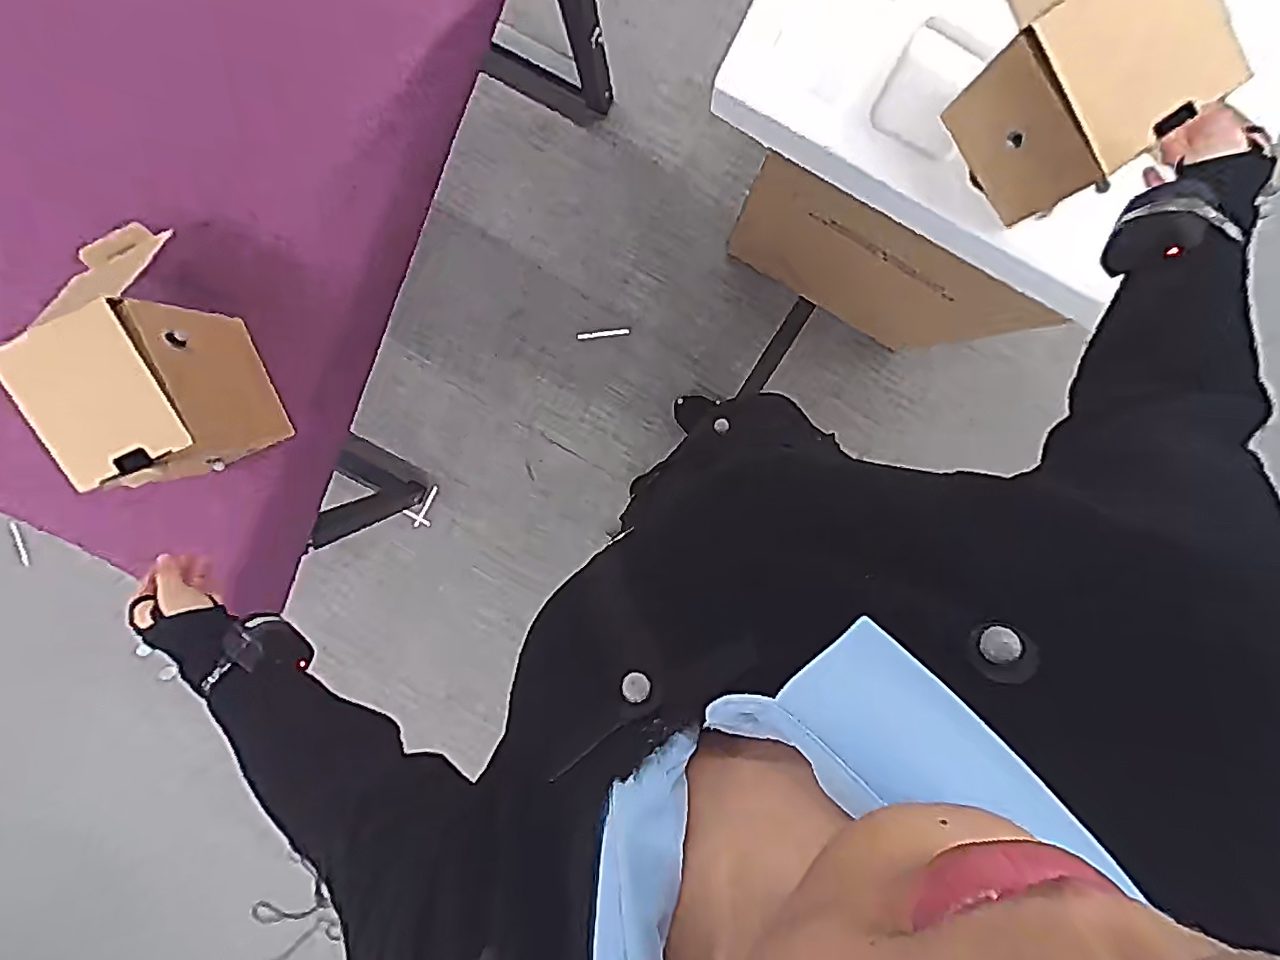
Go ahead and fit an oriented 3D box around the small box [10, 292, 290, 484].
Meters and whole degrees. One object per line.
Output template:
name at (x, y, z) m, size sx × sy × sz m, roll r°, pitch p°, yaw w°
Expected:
small box at (-0.602, -0.111, 0.691) m, size 0.168 × 0.176 × 0.179 m, roll -21°, pitch 96°, yaw 7°
